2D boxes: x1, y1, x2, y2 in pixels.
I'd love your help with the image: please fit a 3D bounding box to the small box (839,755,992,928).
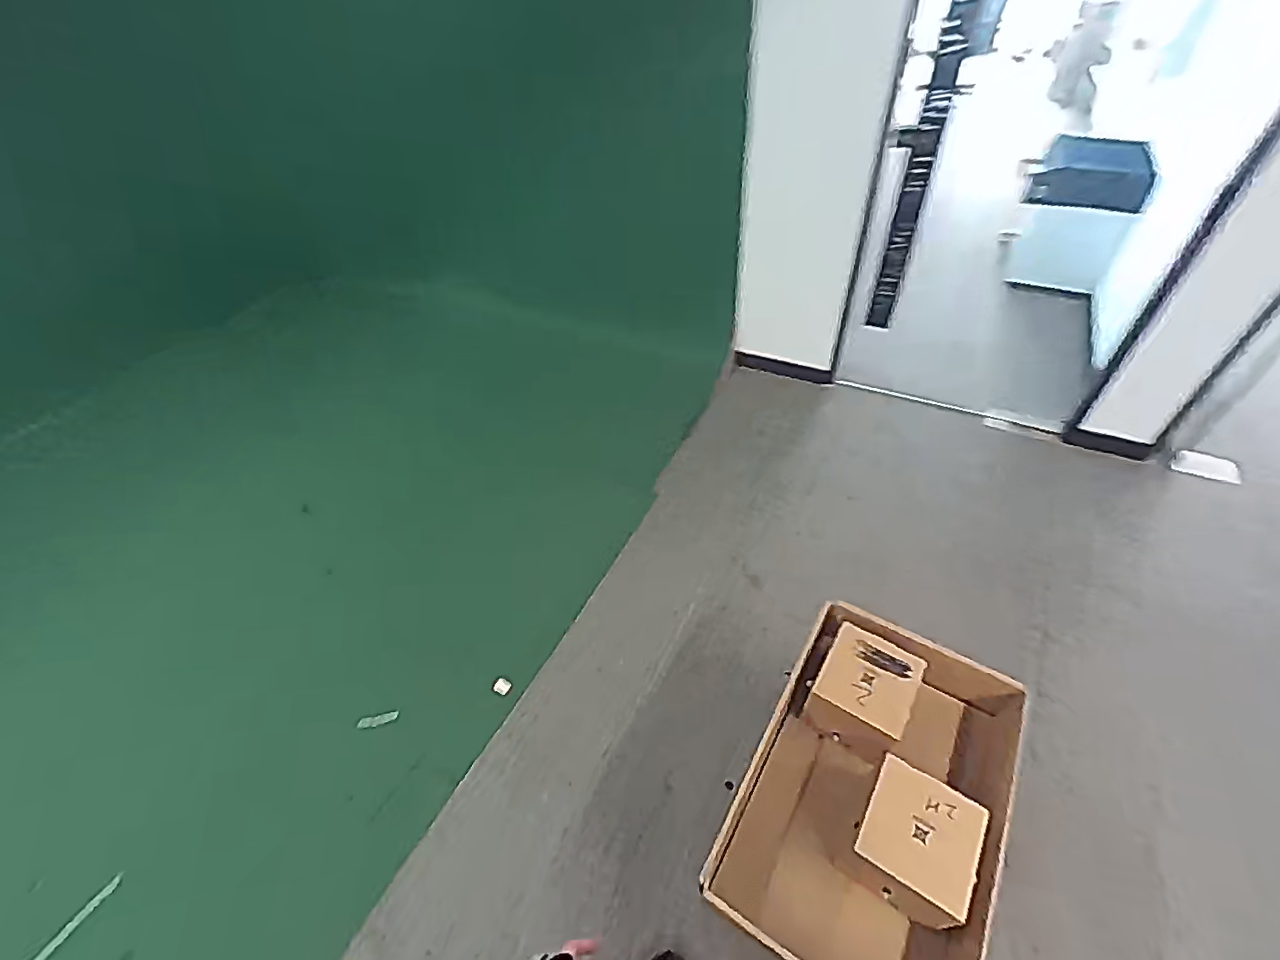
[{"bbox_3d":[0.454,0.613,0.915,0.168,0.176,0.179,26,55,24],"label":"small box"}]
